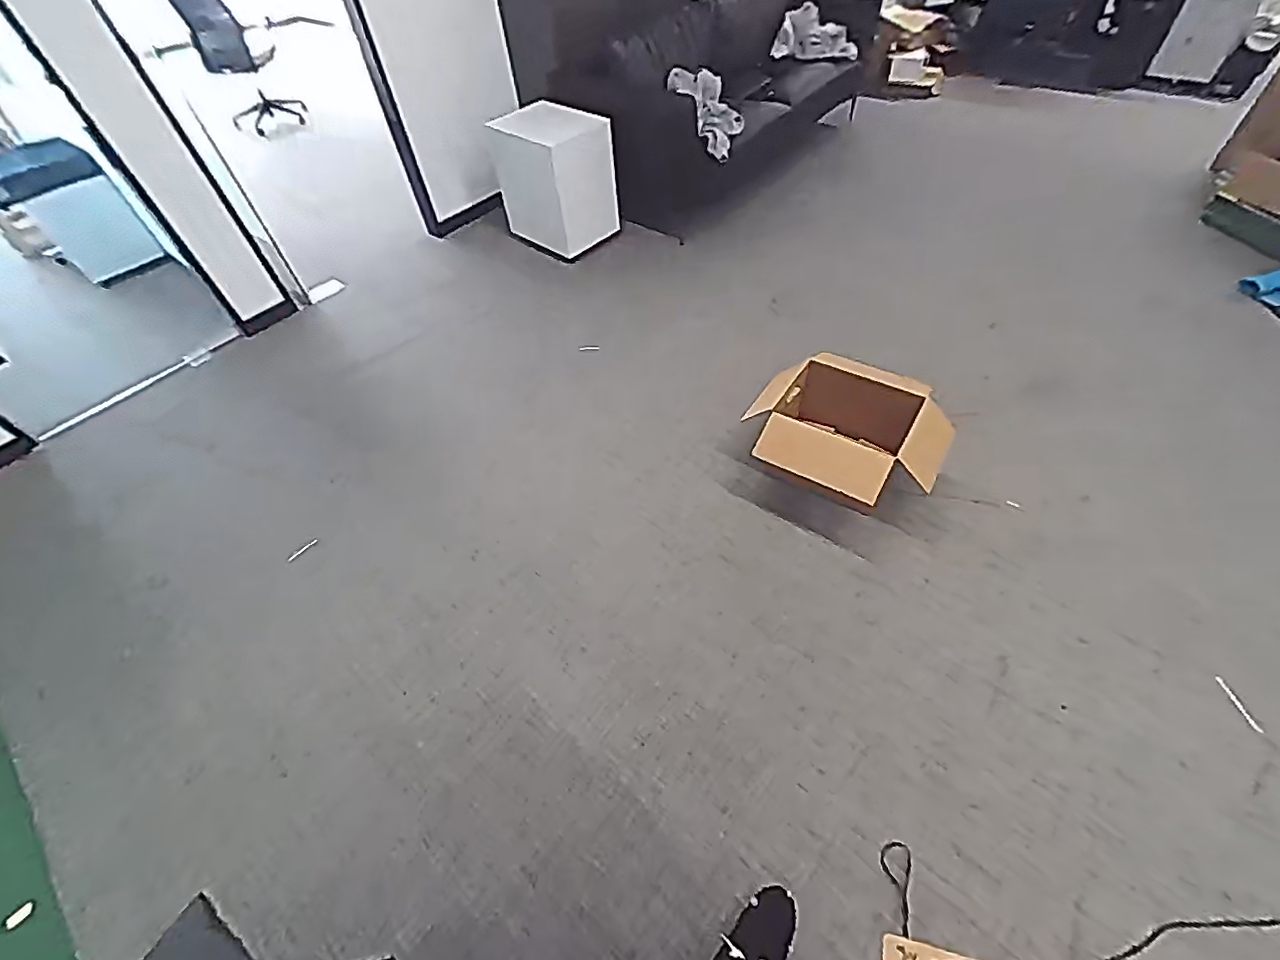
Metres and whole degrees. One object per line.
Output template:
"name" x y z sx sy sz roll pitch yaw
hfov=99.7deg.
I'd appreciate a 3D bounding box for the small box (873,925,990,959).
"small box" 0.357 0.685 0.621 0.168 0.179 0.176 -1 93 26
